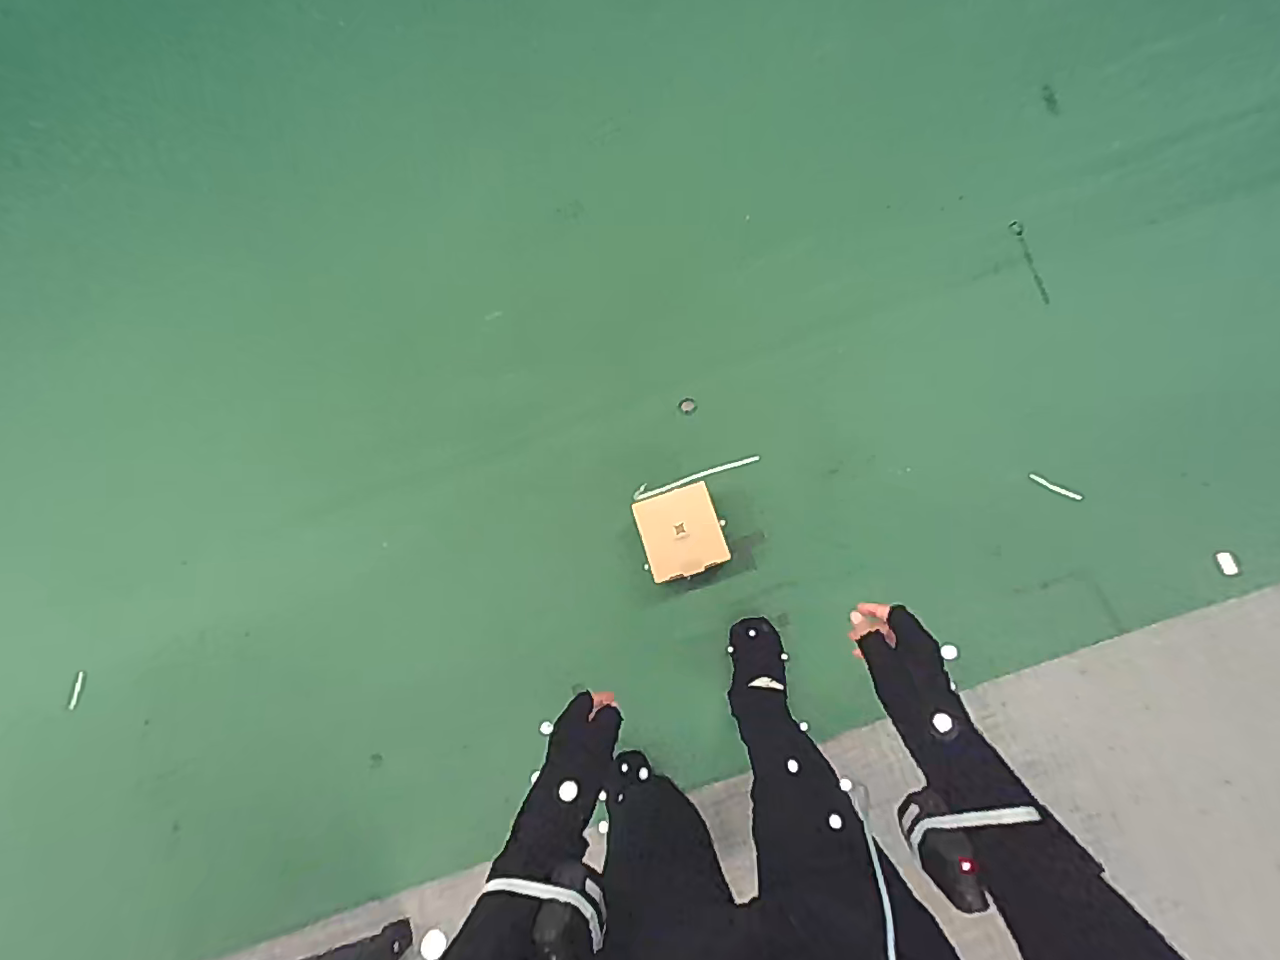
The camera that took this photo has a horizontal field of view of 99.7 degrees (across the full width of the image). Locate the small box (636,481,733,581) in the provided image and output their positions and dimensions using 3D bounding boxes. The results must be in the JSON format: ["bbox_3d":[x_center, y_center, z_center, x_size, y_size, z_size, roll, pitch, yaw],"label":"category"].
[{"bbox_3d":[0.097,0.120,1.212,0.168,0.176,0.179,-19,79,1],"label":"small box"}]
